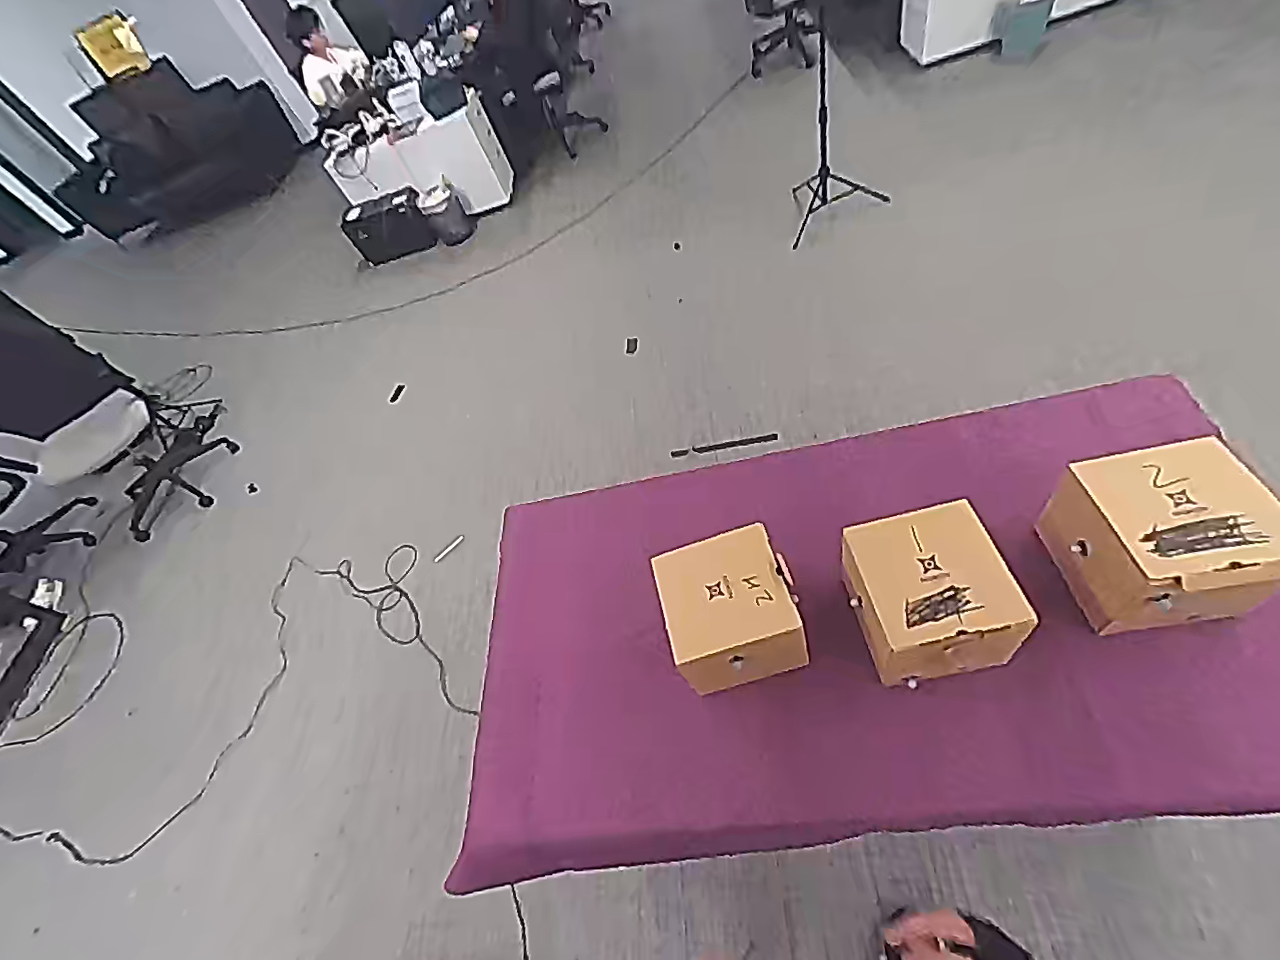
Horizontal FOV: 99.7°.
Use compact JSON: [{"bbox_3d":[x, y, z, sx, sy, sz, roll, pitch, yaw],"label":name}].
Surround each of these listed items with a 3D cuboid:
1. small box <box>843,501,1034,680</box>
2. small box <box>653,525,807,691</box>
[{"bbox_3d":[0.390,0.161,0.742,0.168,0.176,0.179,-15,51,9],"label":"small box"},{"bbox_3d":[0.136,0.198,0.809,0.179,0.176,0.168,-18,52,6],"label":"small box"}]
